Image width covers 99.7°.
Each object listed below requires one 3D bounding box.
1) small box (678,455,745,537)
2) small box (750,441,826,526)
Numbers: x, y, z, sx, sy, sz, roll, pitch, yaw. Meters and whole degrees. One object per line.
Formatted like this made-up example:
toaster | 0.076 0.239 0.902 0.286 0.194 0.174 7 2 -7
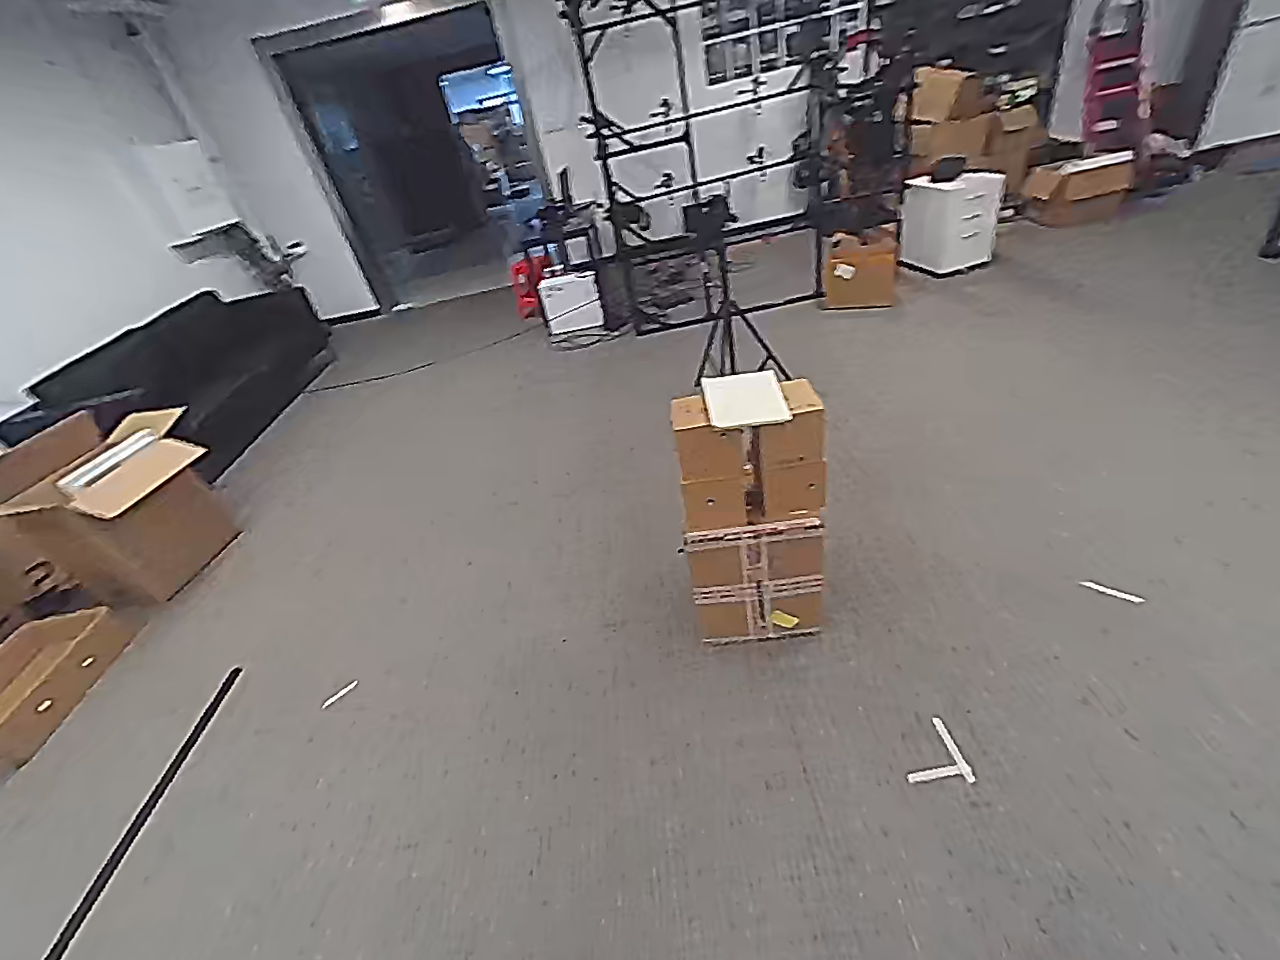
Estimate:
small box | 0.212 0.049 1.582 0.179 0.176 0.168 -7 37 11
small box | 0.424 0.012 1.566 0.179 0.176 0.168 -11 36 3
